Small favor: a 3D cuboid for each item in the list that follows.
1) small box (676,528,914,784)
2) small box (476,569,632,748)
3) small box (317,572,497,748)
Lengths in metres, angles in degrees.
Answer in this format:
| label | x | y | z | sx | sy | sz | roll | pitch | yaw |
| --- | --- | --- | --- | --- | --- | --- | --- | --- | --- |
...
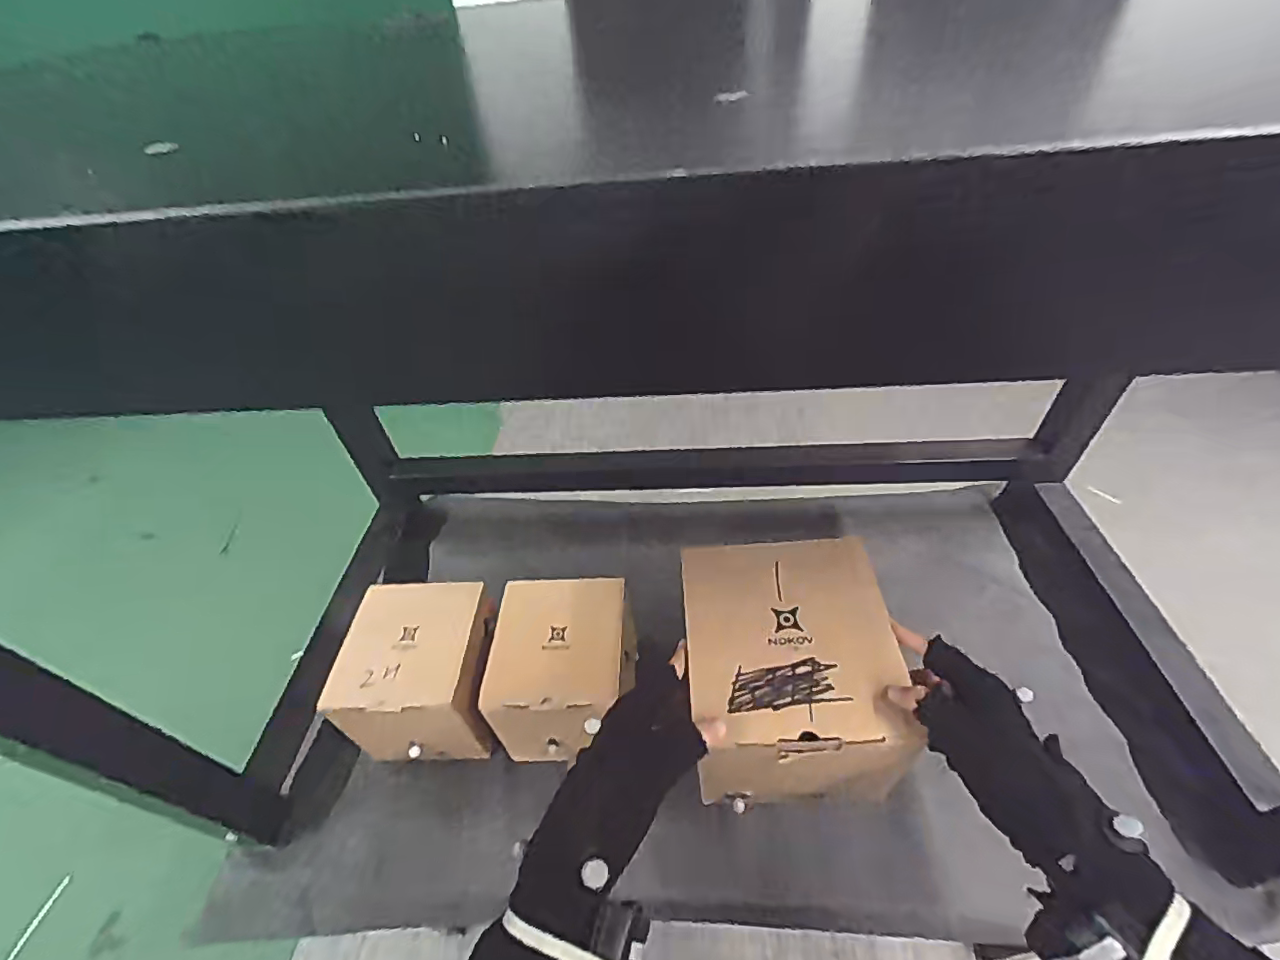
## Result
| label | x | y | z | sx | sy | sz | roll | pitch | yaw |
| --- | --- | --- | --- | --- | --- | --- | --- | --- | --- |
| small box | 0.123 | 0.167 | 0.497 | 0.168 | 0.176 | 0.179 | -4 | 46 | 5 |
| small box | -0.101 | 0.240 | 0.731 | 0.168 | 0.176 | 0.179 | -2 | 45 | 5 |
| small box | -0.292 | 0.246 | 0.743 | 0.168 | 0.176 | 0.179 | -3 | 45 | 4 |
